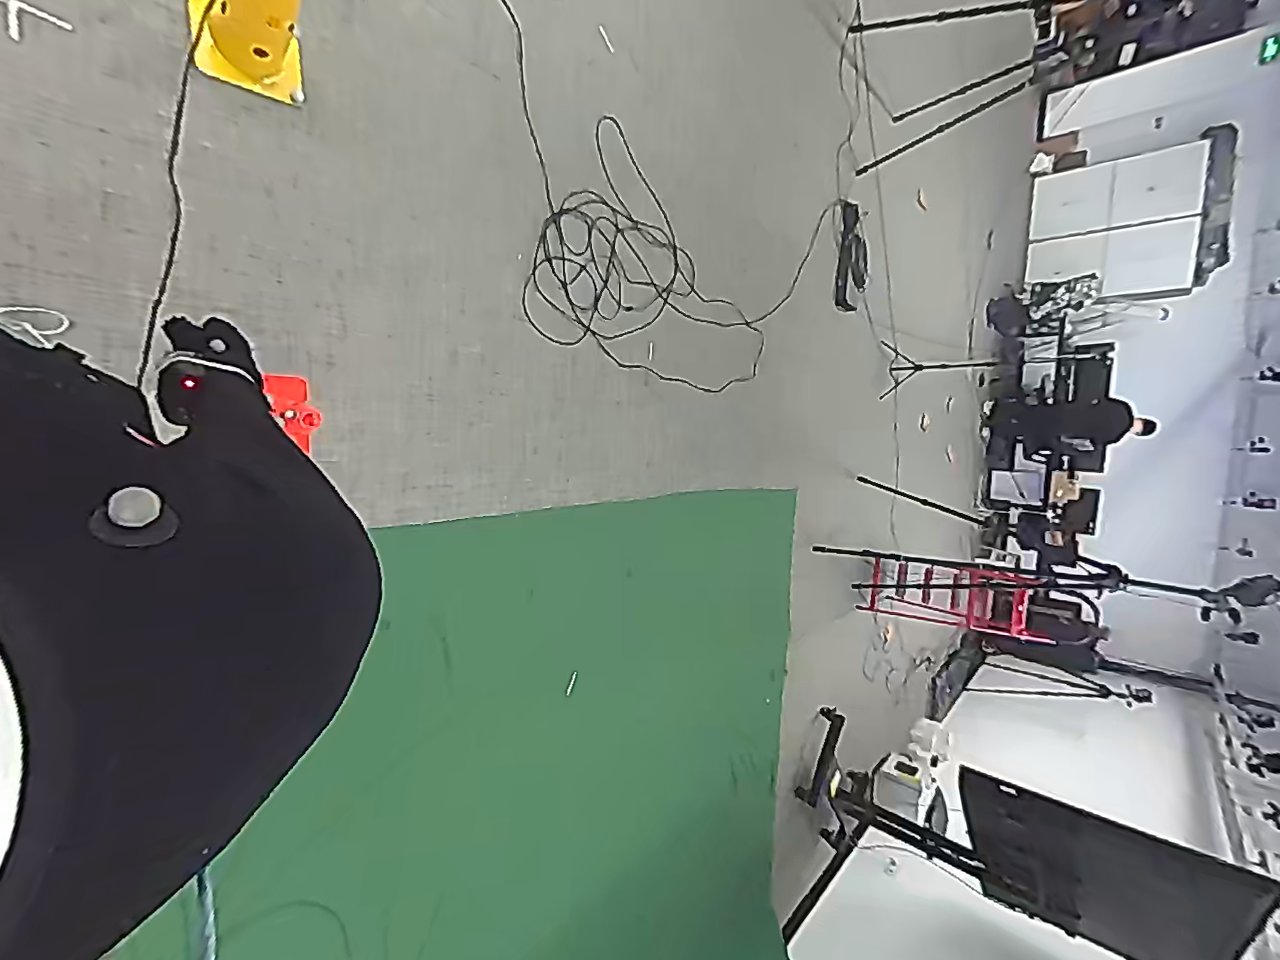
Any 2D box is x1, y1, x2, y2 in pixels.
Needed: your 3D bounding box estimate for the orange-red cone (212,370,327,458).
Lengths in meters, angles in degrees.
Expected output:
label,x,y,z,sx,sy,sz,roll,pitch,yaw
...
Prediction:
label,x,y,z,sx,sy,sz,roll,pitch,yaw
orange-red cone,-0.749,-0.137,1.149,0.198,0.360,0.199,-4,97,-48
